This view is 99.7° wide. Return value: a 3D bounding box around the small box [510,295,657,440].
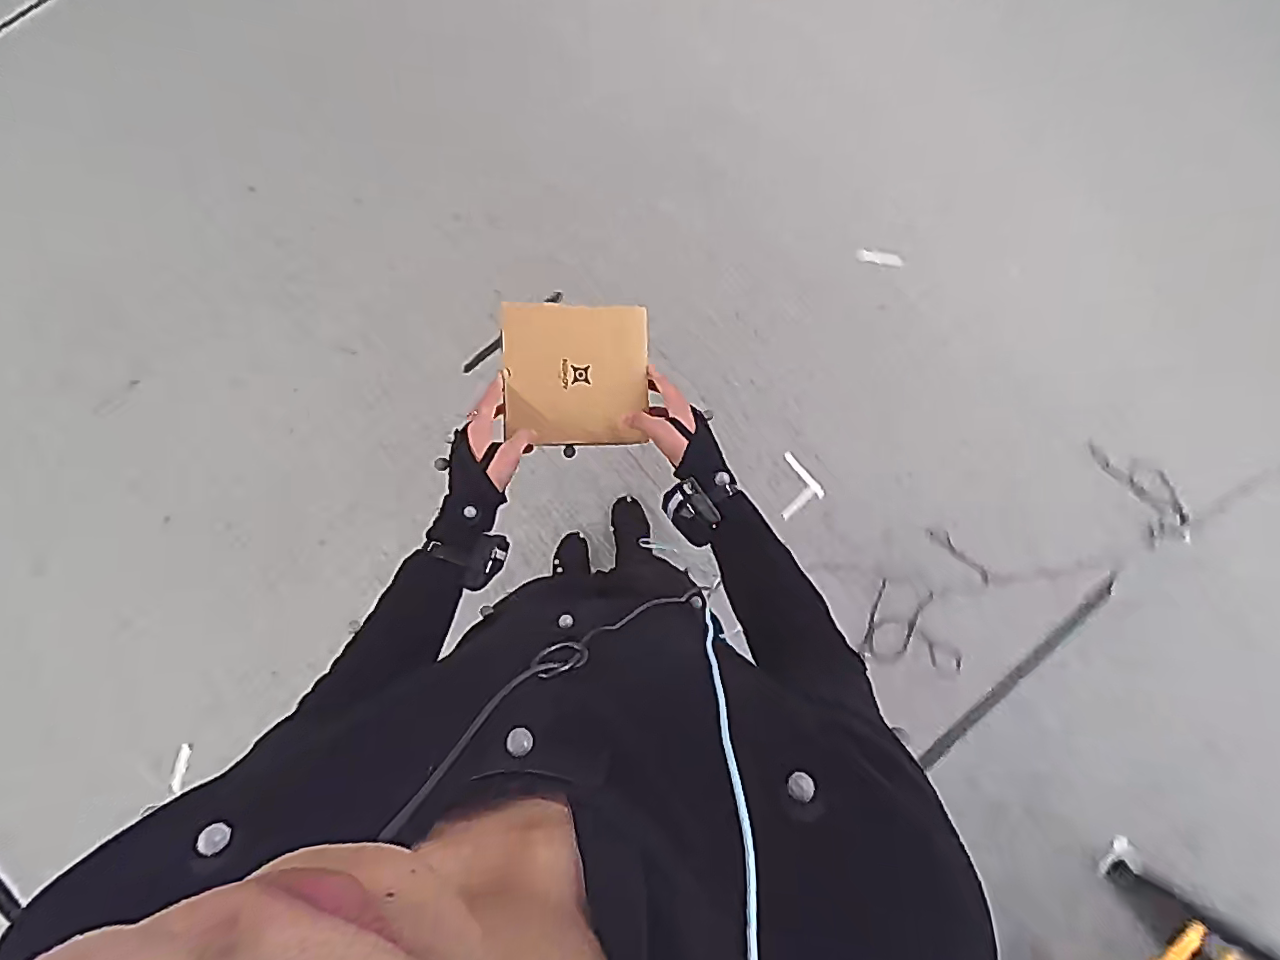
[{"bbox_3d":[-0.081,-0.139,0.721,0.179,0.176,0.168,-1,95,-11],"label":"small box"}]
